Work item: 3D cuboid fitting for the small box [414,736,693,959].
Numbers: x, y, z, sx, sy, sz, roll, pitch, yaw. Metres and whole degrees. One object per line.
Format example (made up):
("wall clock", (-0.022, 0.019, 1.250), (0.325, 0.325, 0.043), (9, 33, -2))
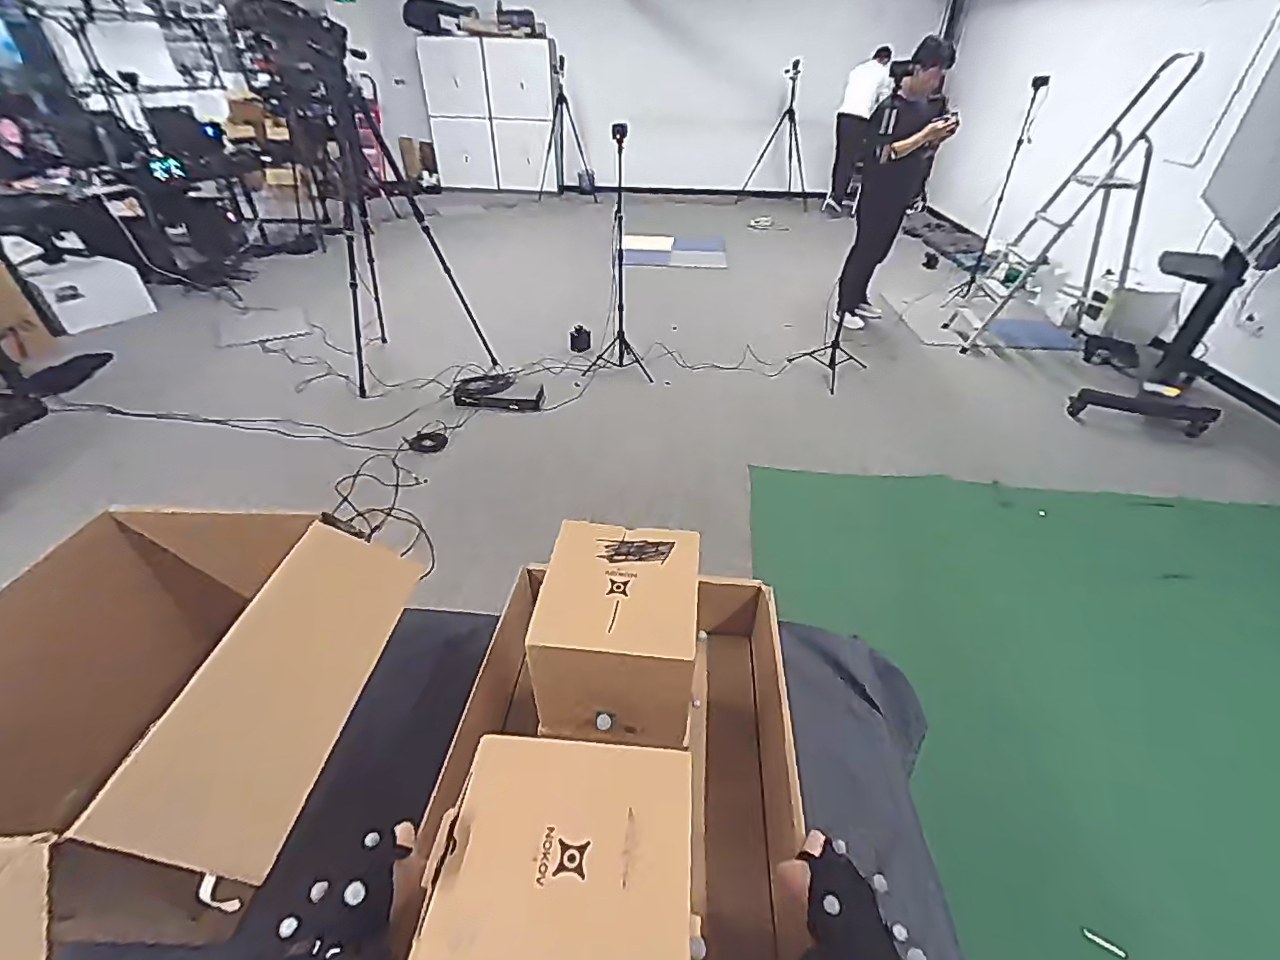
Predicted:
("small box", (-0.052, 0.332, 0.432), (0.179, 0.176, 0.168), (5, 38, 2))

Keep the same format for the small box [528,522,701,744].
("small box", (-0.022, 0.175, 0.631), (0.168, 0.176, 0.179), (5, 40, 4))
